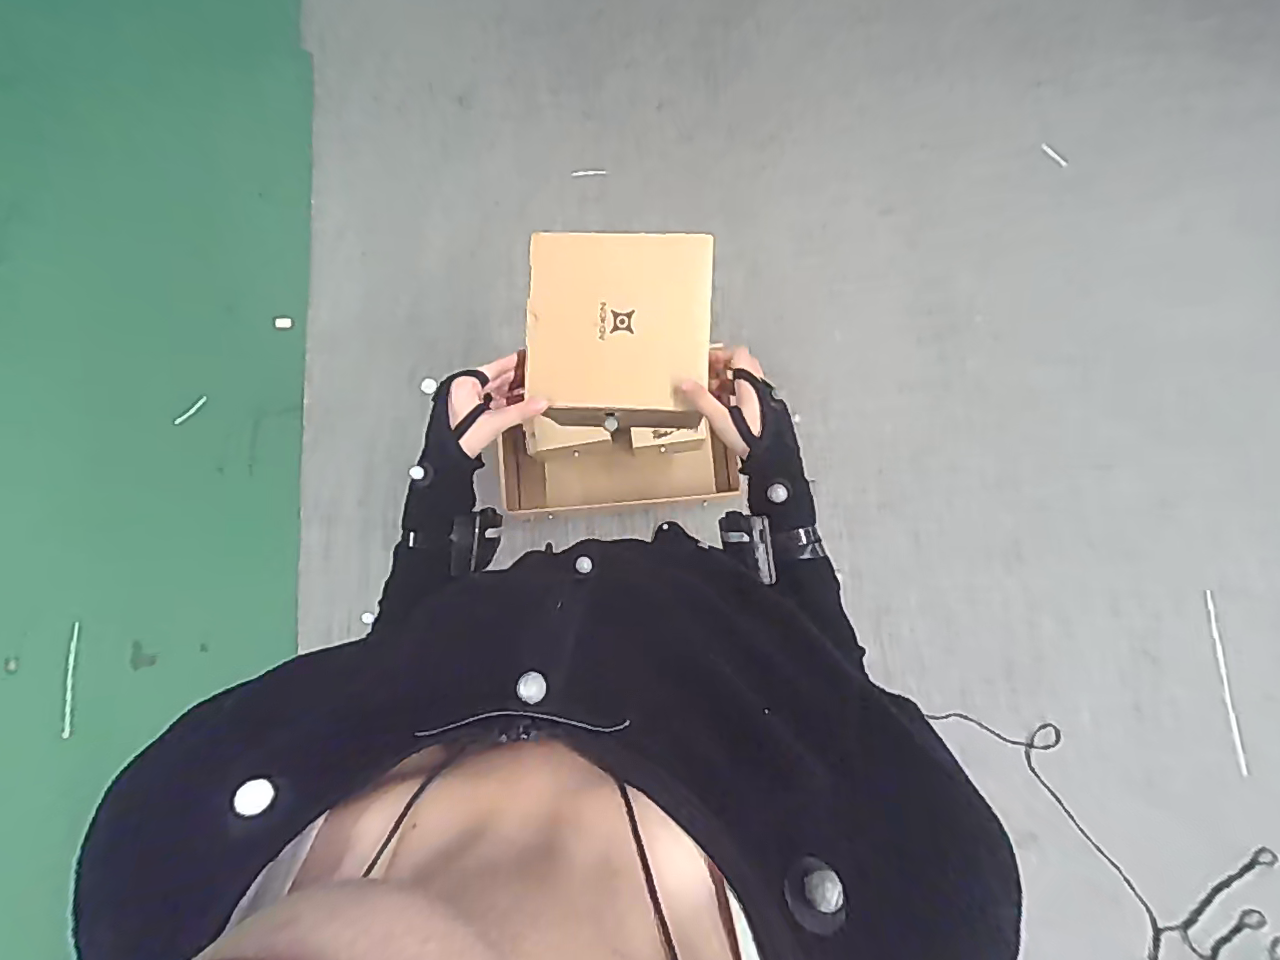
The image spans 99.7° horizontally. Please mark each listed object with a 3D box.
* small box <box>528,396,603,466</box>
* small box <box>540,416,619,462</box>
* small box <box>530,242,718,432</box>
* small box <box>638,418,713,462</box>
[{"bbox_3d":[-0.189,-0.137,1.452,0.179,0.176,0.168,-8,84,0],"label":"small box"},{"bbox_3d":[-0.144,-0.142,1.288,0.168,0.176,0.179,-9,84,-2],"label":"small box"},{"bbox_3d":[-0.010,-0.143,0.592,0.179,0.176,0.168,2,89,6],"label":"small box"},{"bbox_3d":[0.075,-0.148,1.276,0.168,0.176,0.179,-7,83,3],"label":"small box"}]
